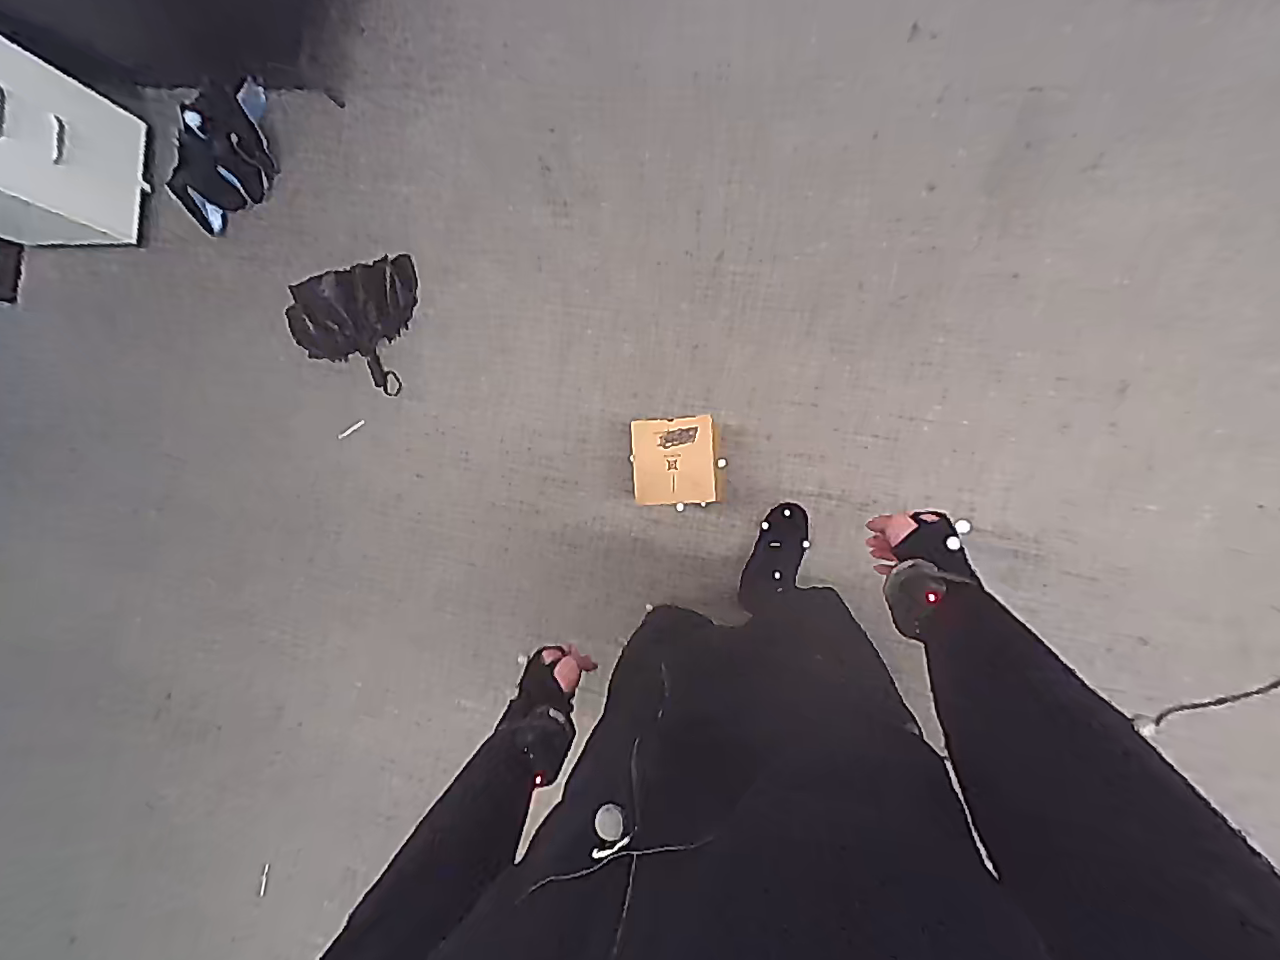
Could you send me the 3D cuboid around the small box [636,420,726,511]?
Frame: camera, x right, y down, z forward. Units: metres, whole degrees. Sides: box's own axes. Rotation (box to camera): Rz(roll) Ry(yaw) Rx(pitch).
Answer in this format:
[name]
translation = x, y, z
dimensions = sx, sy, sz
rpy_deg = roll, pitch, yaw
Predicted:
[small box]
translation = 0.092, -0.026, 1.153
dimensions = 0.168, 0.176, 0.179
rpy_deg = -4, 89, 13
